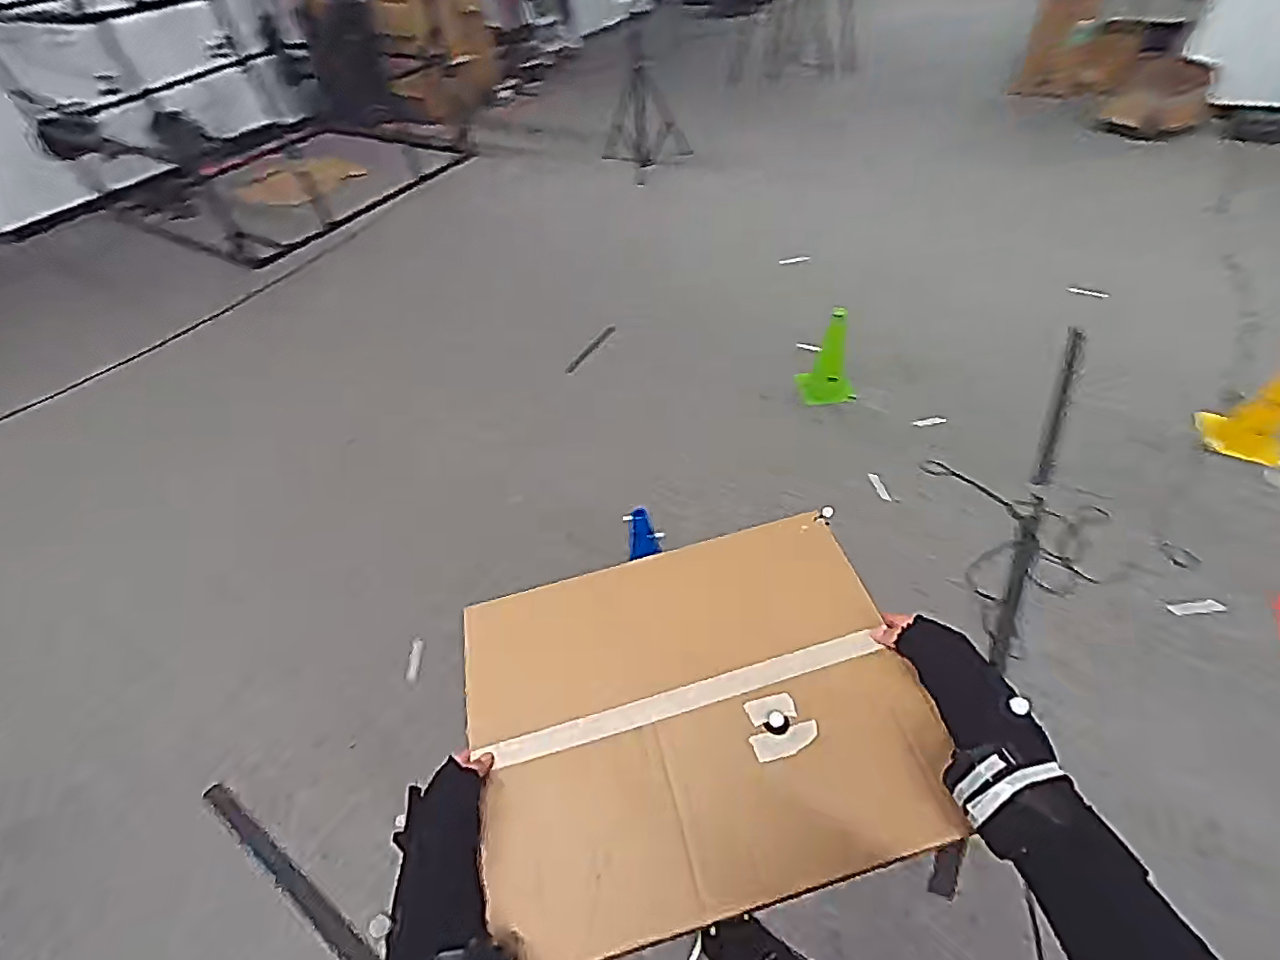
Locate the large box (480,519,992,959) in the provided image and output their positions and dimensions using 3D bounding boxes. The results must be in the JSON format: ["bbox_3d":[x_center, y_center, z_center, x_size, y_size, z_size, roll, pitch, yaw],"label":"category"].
[{"bbox_3d":[0.068,0.298,0.617,0.408,0.320,0.320,-14,51,-4],"label":"large box"}]

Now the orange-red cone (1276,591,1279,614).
[{"bbox_3d":[1.761,0.280,1.263,0.198,0.360,0.199,21,53,22],"label":"orange-red cone"}]

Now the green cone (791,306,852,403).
[{"bbox_3d":[0.716,-0.502,2.076,0.202,0.368,0.200,-9,48,1],"label":"green cone"}]
